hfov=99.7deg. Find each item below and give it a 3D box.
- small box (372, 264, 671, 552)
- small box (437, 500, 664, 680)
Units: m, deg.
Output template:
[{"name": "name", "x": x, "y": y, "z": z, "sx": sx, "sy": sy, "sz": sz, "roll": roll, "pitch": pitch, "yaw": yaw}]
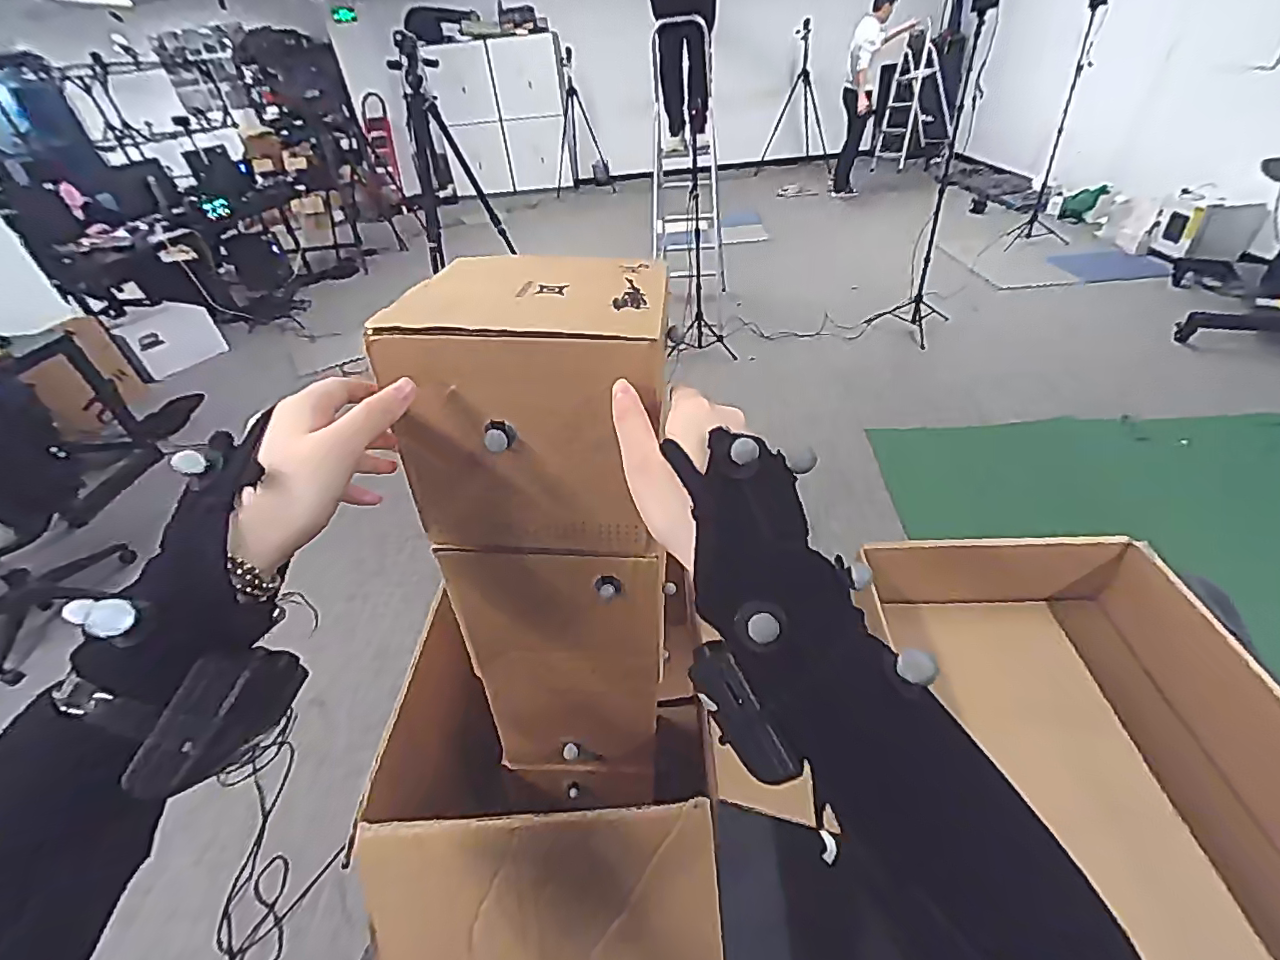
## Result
[{"name": "small box", "x": -0.067, "y": -0.060, "z": 0.423, "sx": 0.179, "sy": 0.176, "sz": 0.168, "roll": 3, "pitch": 37, "yaw": 3}, {"name": "small box", "x": -0.067, "y": 0.073, "z": 0.521, "sx": 0.179, "sy": 0.176, "sz": 0.168, "roll": 2, "pitch": 37, "yaw": 2}]
